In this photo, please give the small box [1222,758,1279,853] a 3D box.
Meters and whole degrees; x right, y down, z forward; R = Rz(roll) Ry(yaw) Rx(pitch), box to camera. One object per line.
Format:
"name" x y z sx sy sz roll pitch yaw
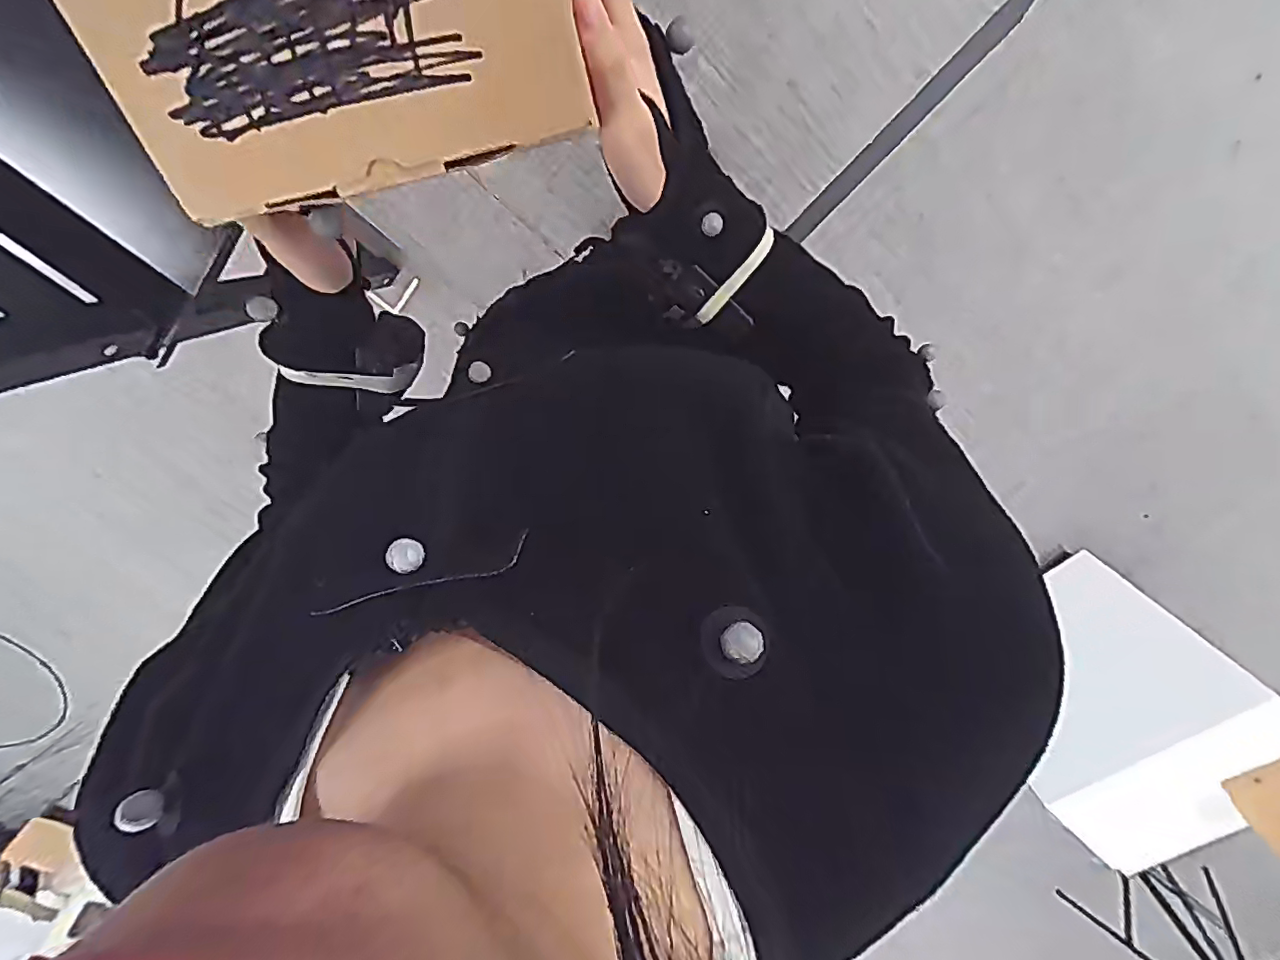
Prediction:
"small box" 1.429 0.724 1.162 0.168 0.176 0.179 -39 110 18
